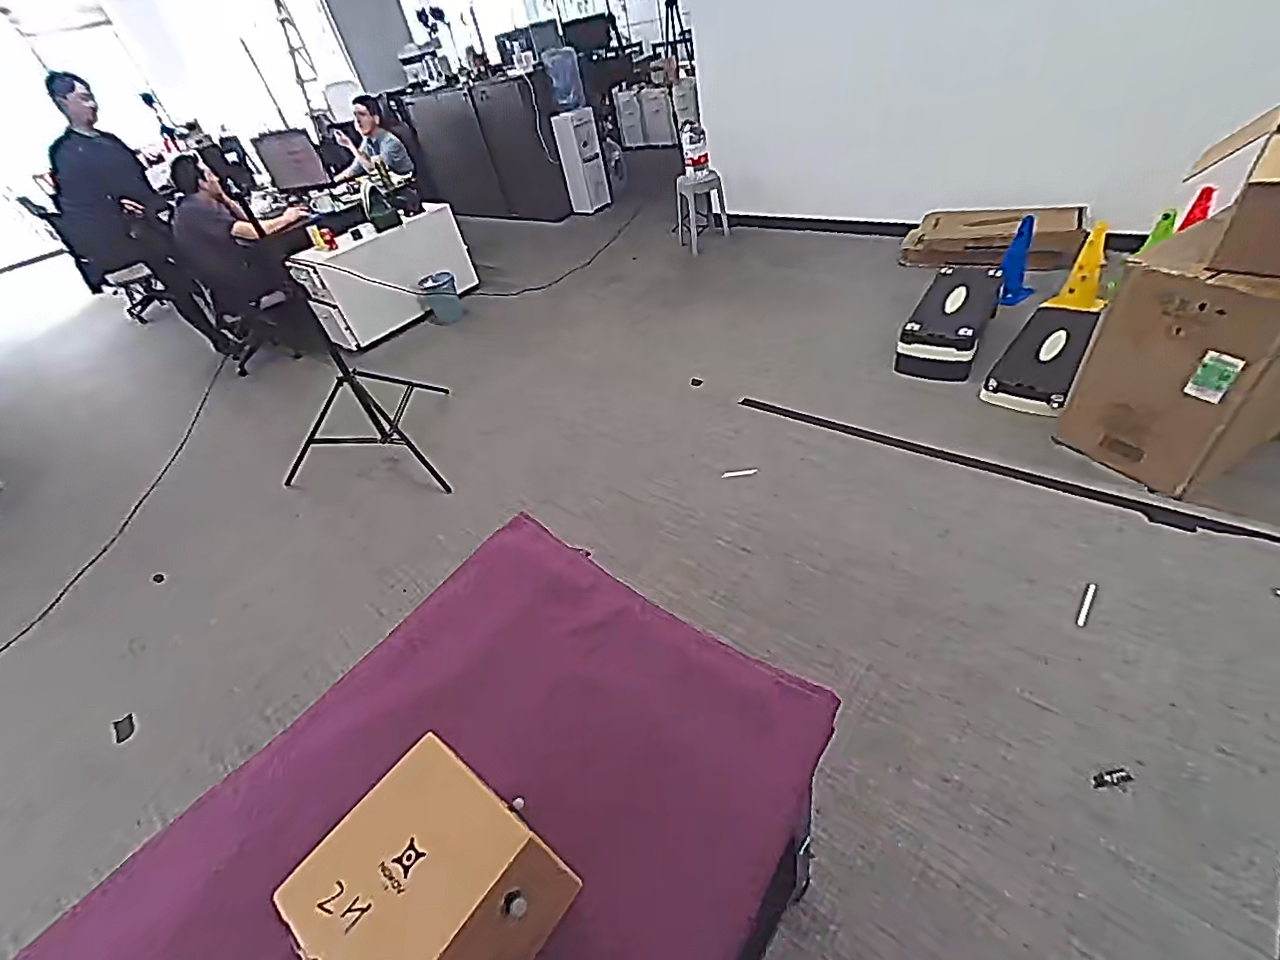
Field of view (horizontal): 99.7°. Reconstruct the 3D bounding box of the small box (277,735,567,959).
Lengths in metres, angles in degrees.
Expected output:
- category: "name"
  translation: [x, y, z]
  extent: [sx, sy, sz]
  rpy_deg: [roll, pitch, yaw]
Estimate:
- category: "small box"
  translation: [-0.191, 0.397, 0.522]
  extent: [0.168, 0.176, 0.179]
  rpy_deg: [20, 52, 36]
